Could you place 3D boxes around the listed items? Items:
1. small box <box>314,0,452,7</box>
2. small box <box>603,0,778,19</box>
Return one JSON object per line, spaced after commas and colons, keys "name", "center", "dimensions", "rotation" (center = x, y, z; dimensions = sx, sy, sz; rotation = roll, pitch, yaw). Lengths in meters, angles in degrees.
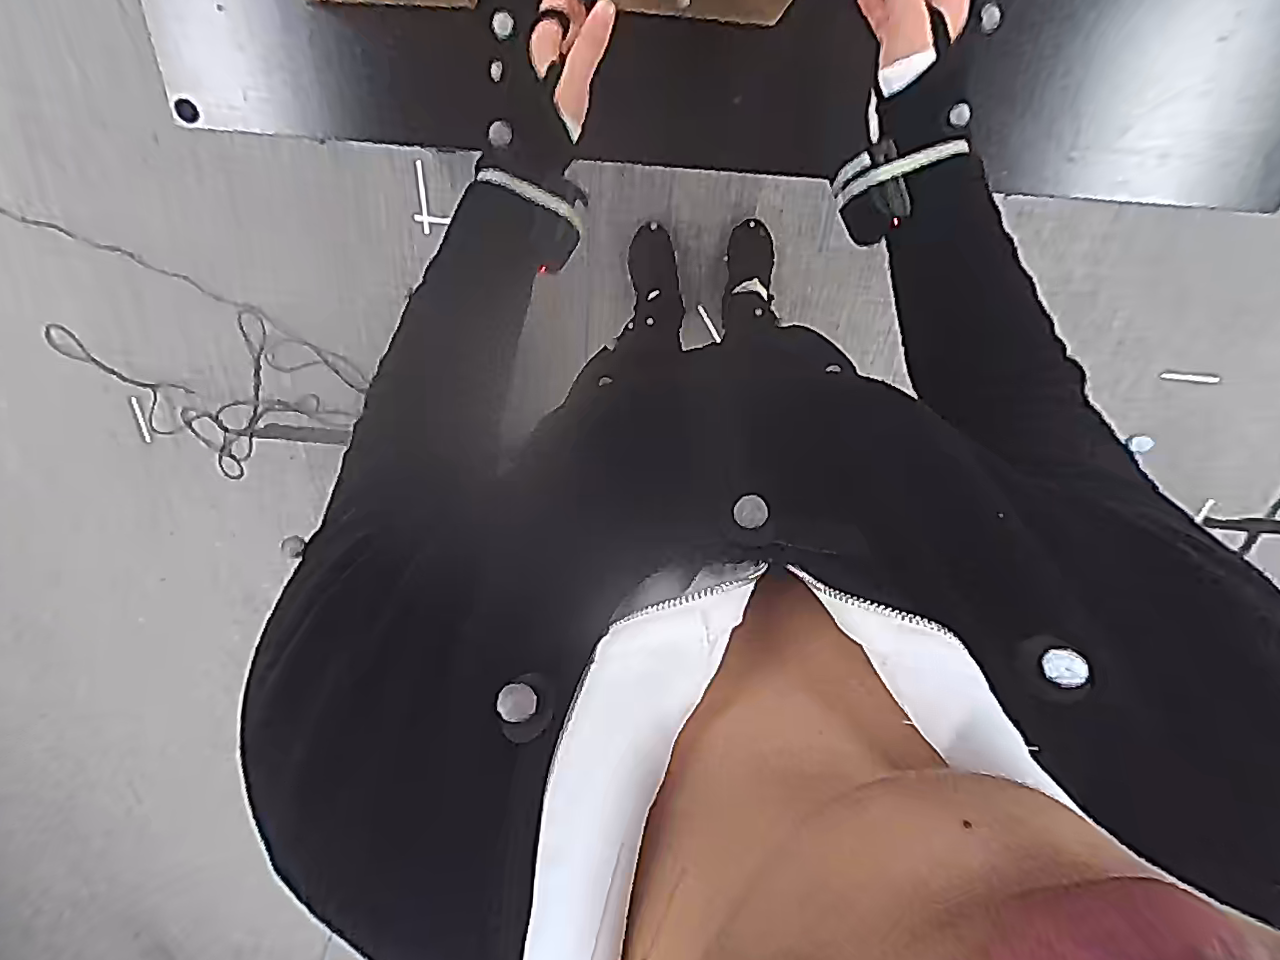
{"name": "small box", "center": [-0.246, -0.504, 0.425], "dimensions": [0.179, 0.176, 0.168], "rotation": [2, 117, 1]}
{"name": "small box", "center": [0.049, -0.491, 0.423], "dimensions": [0.179, 0.176, 0.168], "rotation": [5, 118, 0]}
